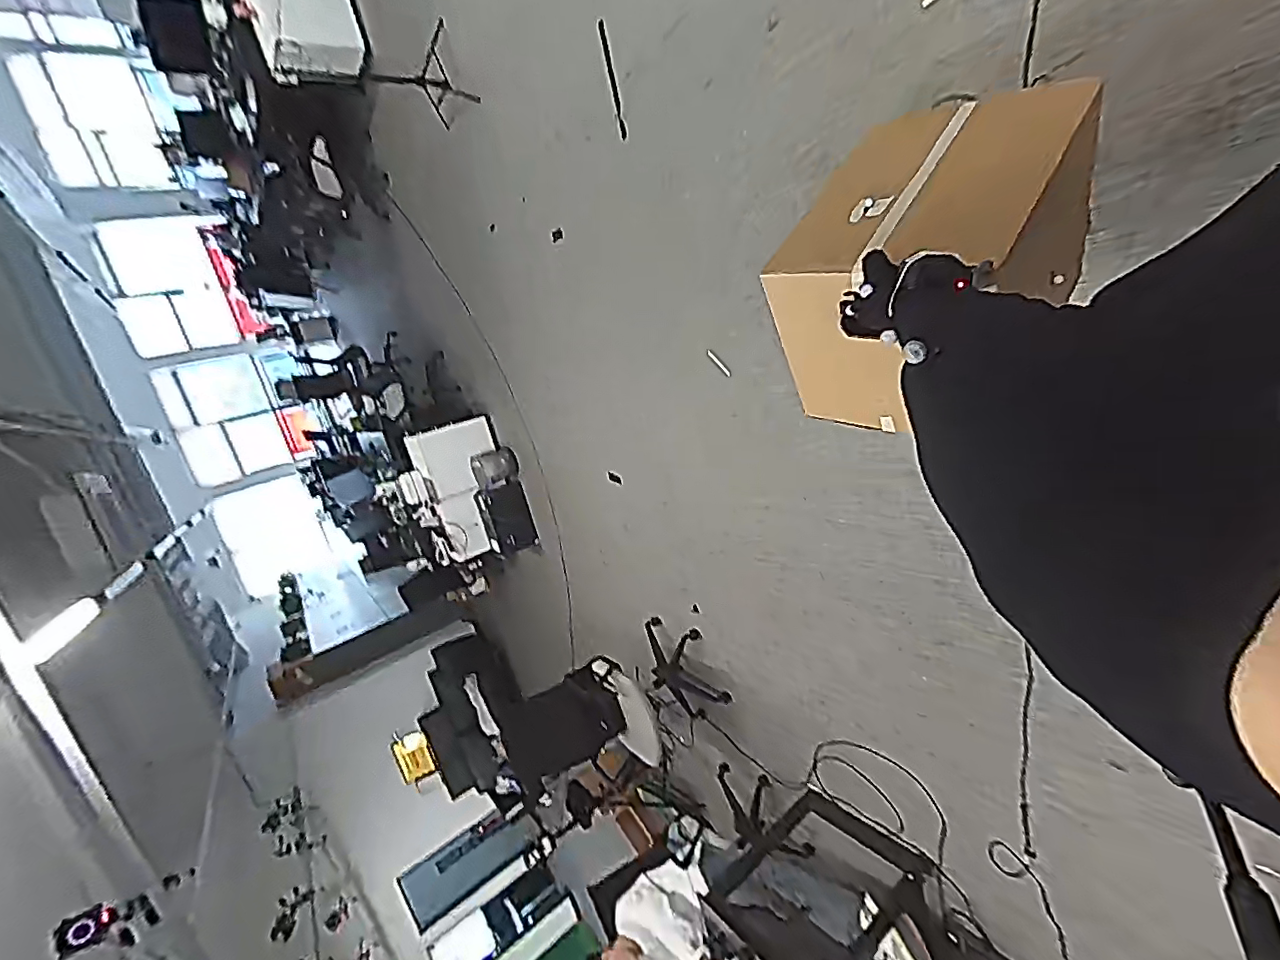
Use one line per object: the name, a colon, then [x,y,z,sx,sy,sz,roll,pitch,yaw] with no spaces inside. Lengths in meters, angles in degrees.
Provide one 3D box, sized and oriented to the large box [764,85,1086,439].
large box: [0.466,-0.333,0.876,0.320,0.408,0.320,17,155,44]
